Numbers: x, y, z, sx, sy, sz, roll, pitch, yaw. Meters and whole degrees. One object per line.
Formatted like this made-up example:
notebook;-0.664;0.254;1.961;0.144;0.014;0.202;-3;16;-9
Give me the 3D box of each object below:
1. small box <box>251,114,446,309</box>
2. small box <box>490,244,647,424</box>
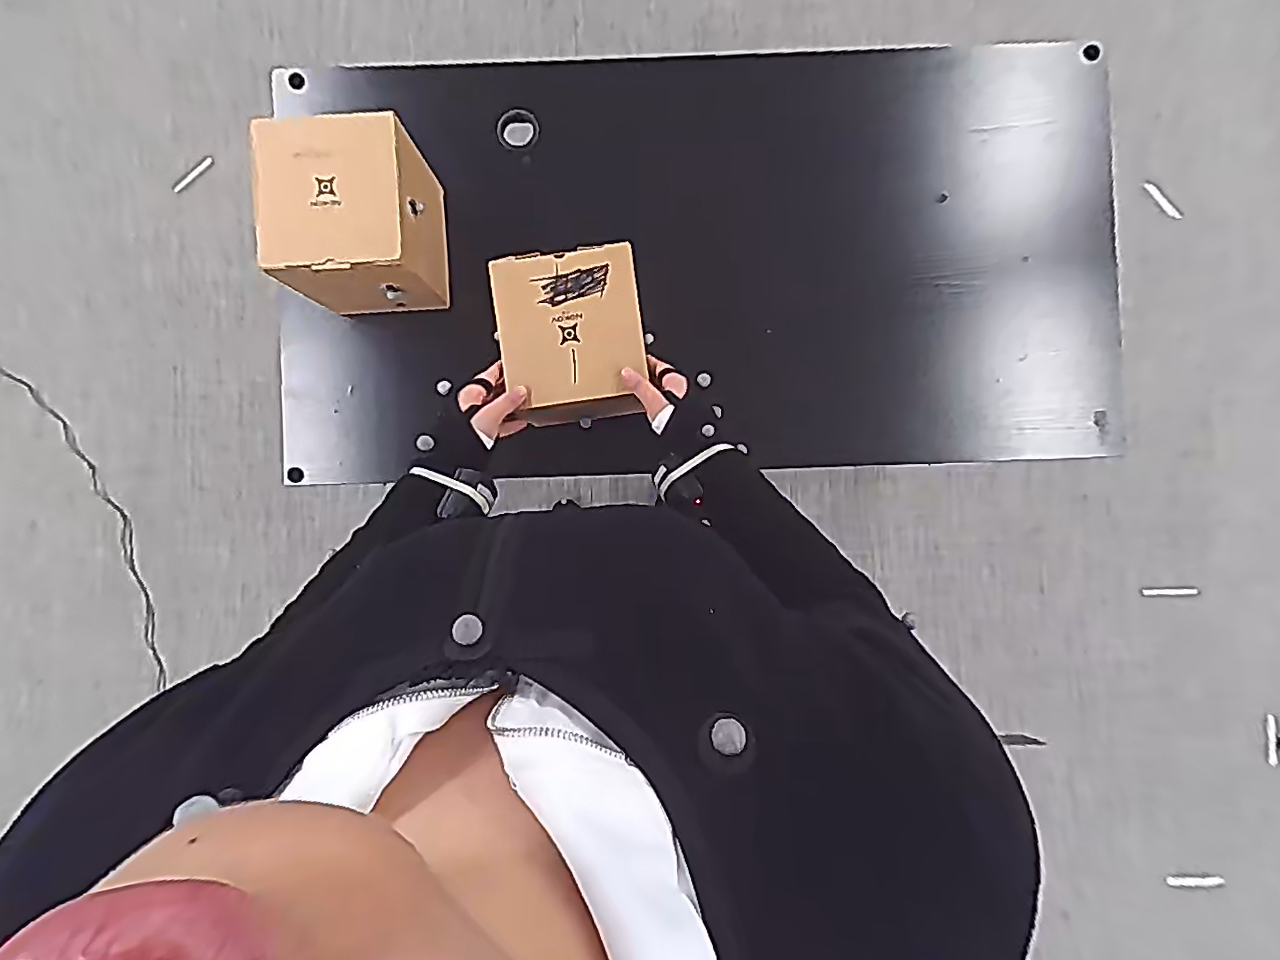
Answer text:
small box;-0.362;-0.331;0.702;0.168;0.176;0.179;-4;89;-2
small box;-0.084;-0.176;0.701;0.168;0.176;0.179;-8;90;0
